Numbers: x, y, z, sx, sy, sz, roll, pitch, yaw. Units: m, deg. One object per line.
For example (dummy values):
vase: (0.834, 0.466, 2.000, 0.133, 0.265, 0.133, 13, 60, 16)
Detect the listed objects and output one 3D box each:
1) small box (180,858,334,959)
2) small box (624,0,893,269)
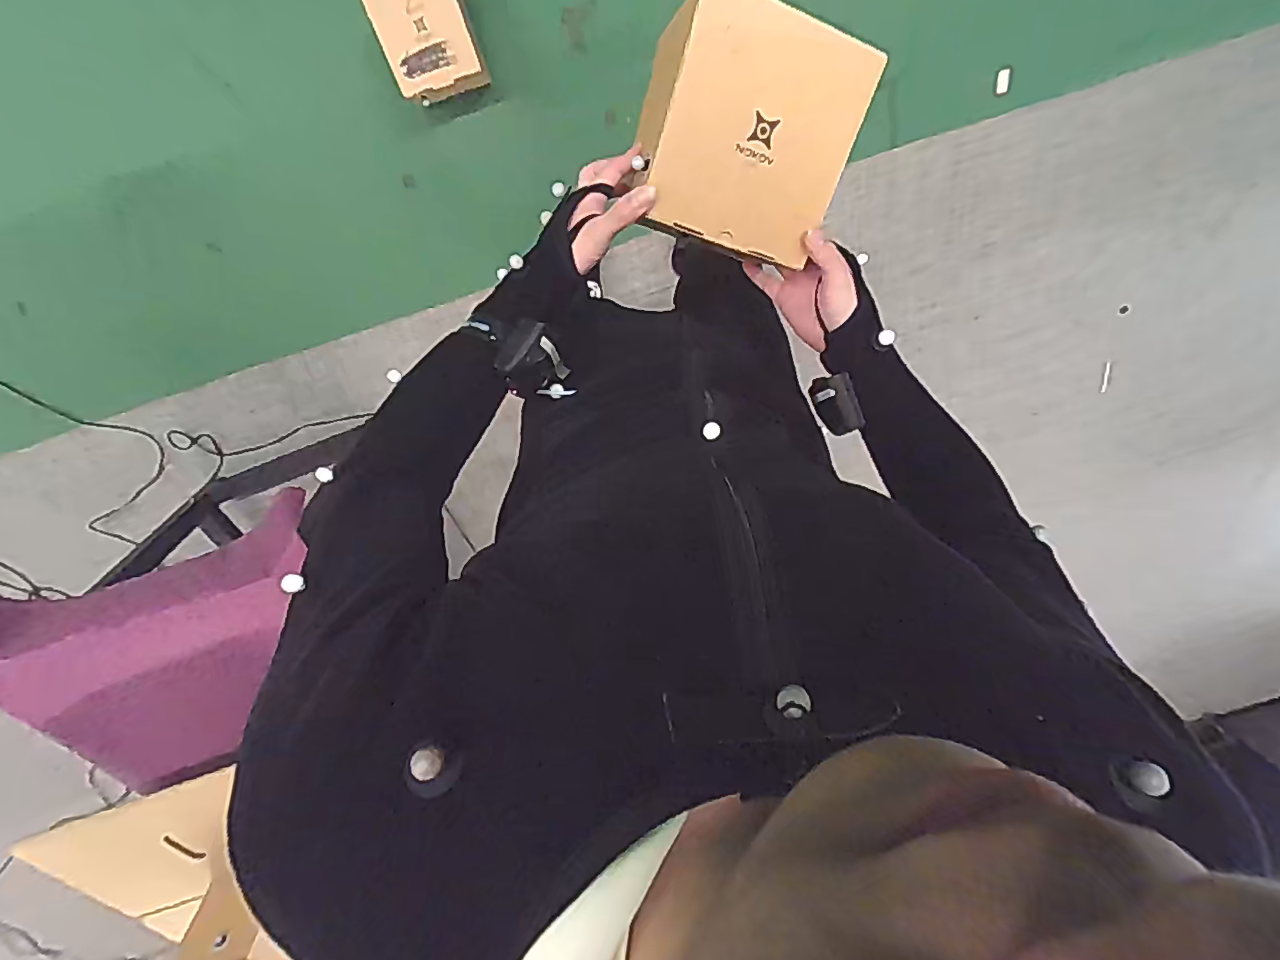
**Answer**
small box: (-0.708, 0.848, 1.010, 0.179, 0.176, 0.168, -21, 118, 5)
small box: (0.092, -0.327, 0.520, 0.168, 0.176, 0.179, 11, 116, -17)
